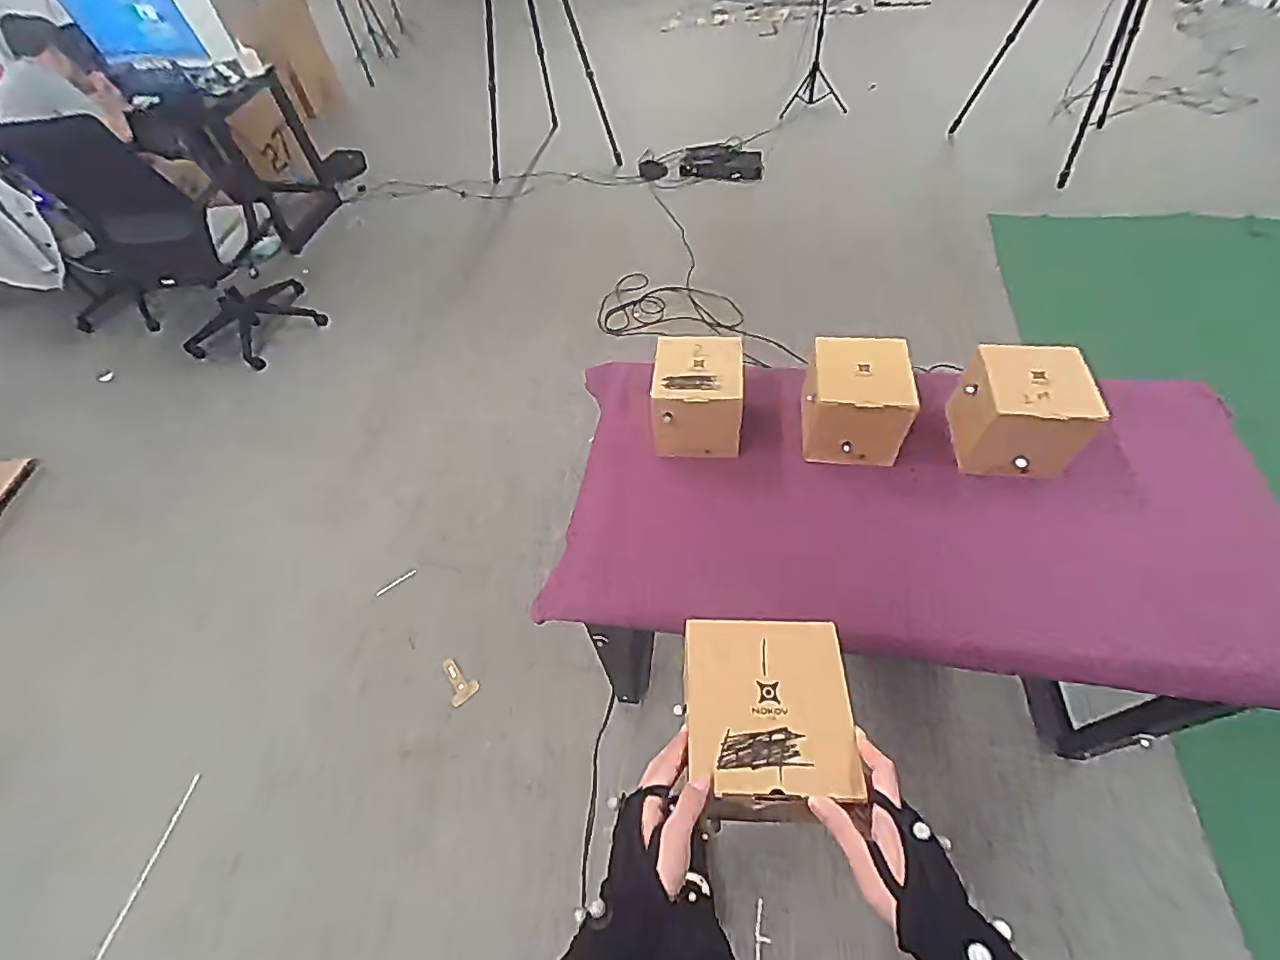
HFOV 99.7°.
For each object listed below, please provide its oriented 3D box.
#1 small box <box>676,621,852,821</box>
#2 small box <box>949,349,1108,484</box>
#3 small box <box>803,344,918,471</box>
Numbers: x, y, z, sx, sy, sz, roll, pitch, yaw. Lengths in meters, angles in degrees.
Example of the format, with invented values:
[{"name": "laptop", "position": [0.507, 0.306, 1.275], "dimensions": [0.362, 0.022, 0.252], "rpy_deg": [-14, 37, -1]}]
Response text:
[{"name": "small box", "position": [0.126, 0.278, 0.618], "dimensions": [0.168, 0.176, 0.179], "rpy_deg": [0, 51, 4]}, {"name": "small box", "position": [0.686, -0.115, 0.982], "dimensions": [0.168, 0.176, 0.179], "rpy_deg": [4, 55, 11]}, {"name": "small box", "position": [0.410, -0.139, 1.037], "dimensions": [0.168, 0.176, 0.179], "rpy_deg": [3, 55, 9]}]
